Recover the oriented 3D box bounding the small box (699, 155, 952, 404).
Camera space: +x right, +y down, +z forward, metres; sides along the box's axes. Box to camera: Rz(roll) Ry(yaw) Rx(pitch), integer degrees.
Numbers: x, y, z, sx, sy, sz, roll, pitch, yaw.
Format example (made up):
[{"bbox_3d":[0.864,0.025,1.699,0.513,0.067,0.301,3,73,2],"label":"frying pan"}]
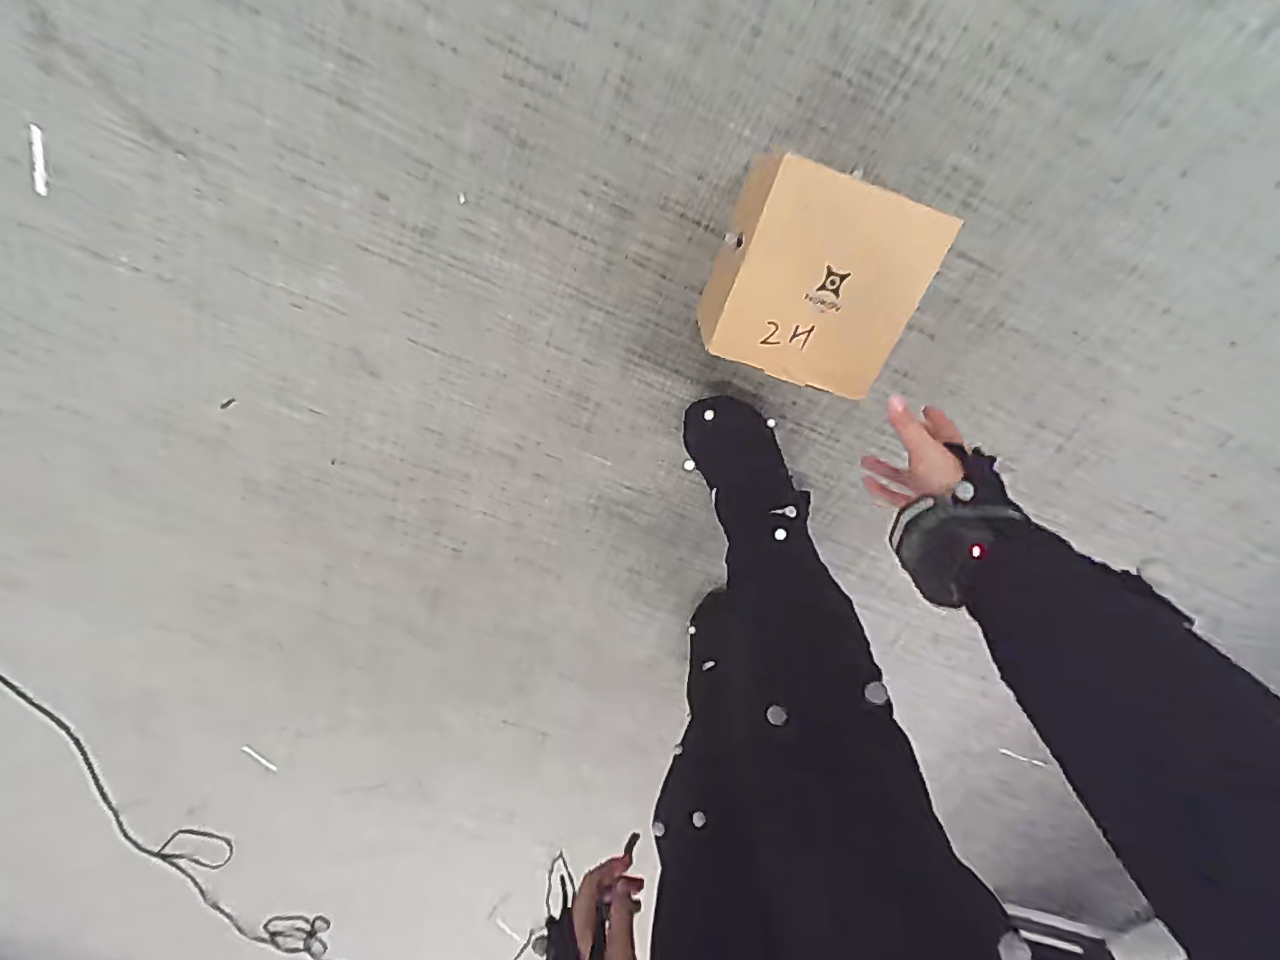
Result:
[{"bbox_3d":[0.166,-0.208,0.556,0.168,0.176,0.179,17,119,-7],"label":"small box"}]
